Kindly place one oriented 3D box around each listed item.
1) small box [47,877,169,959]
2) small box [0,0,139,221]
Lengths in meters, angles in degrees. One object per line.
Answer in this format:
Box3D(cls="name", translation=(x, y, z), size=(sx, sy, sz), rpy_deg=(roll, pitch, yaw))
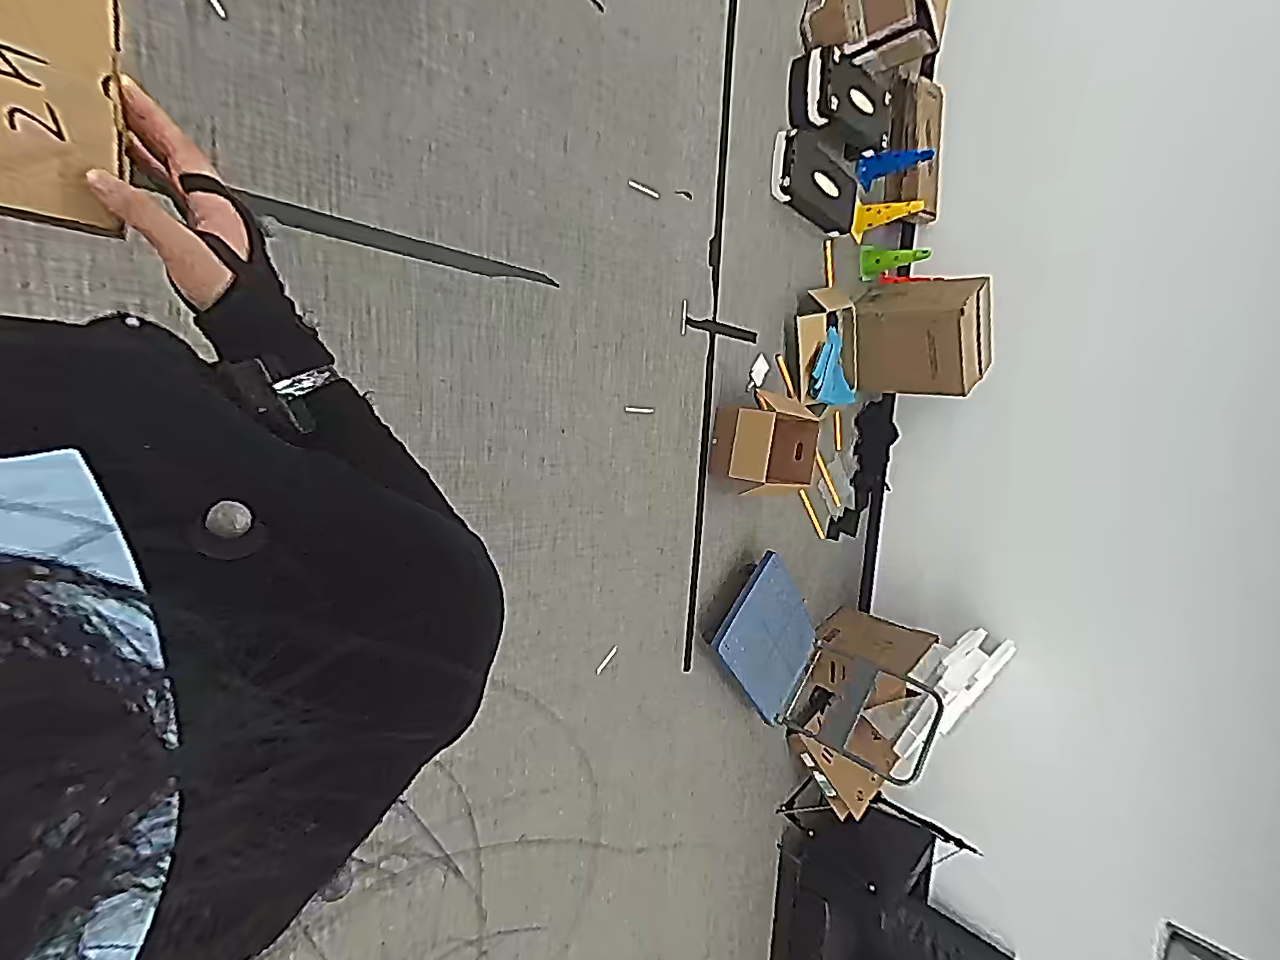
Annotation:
Box3D(cls="small box", translation=(-1.114, 1.004, 1.141), size=(0.168, 0.176, 0.179), rpy_deg=(-12, 106, -44))
Box3D(cls="small box", translation=(-0.424, -0.266, 0.326), size=(0.179, 0.176, 0.168), rpy_deg=(-1, 108, -44))
